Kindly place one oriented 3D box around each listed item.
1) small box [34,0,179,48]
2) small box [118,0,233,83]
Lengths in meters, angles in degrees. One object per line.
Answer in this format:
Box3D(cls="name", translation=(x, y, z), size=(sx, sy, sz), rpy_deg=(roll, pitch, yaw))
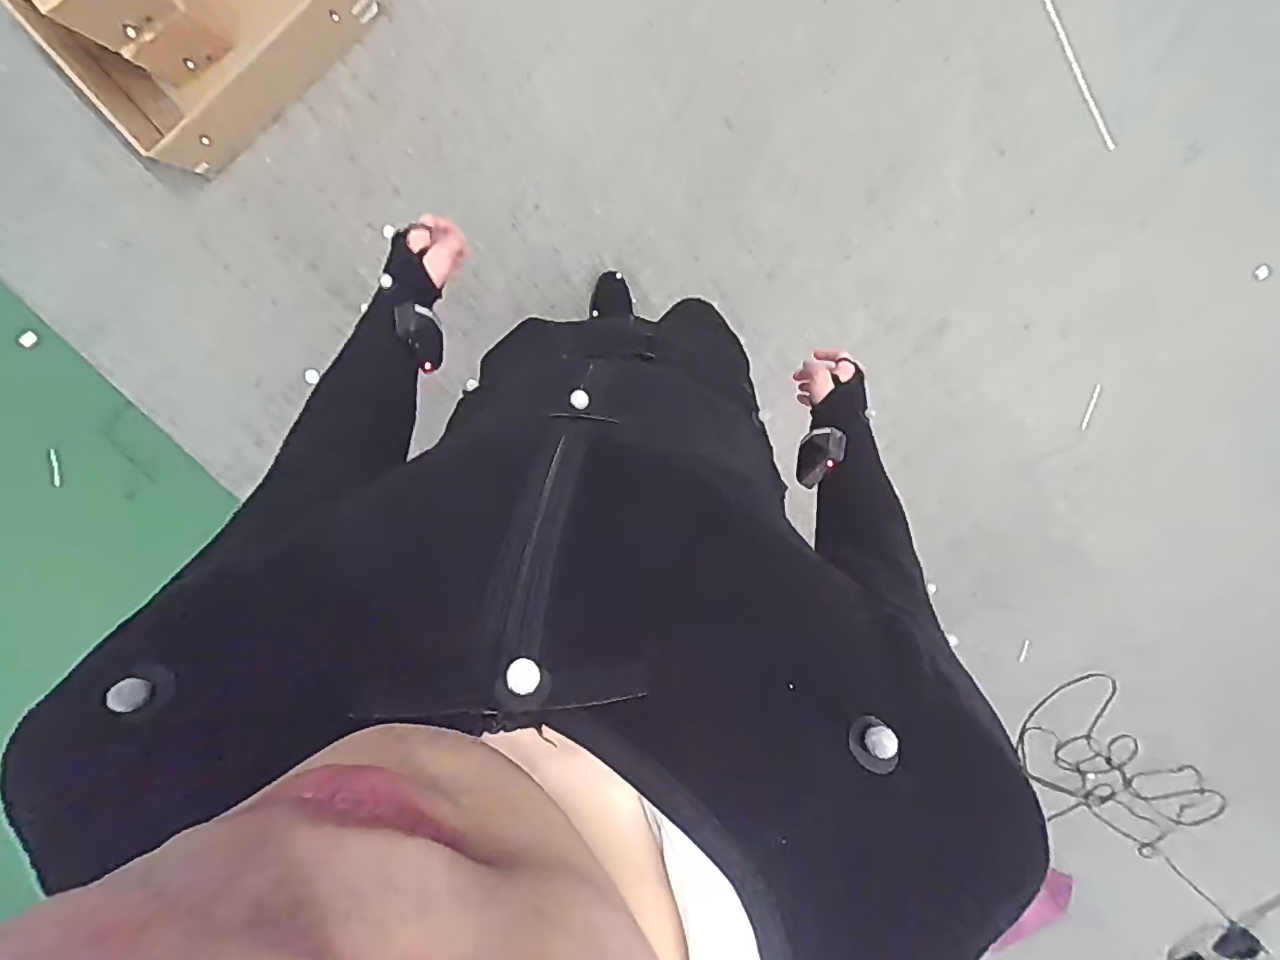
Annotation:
Box3D(cls="small box", translation=(-1.026, -0.958, 0.993), size=(0.168, 0.176, 0.179), rpy_deg=(-29, 108, 5))
Box3D(cls="small box", translation=(-1.036, -1.004, 1.149), size=(0.168, 0.176, 0.179), rpy_deg=(-32, 108, 5))
